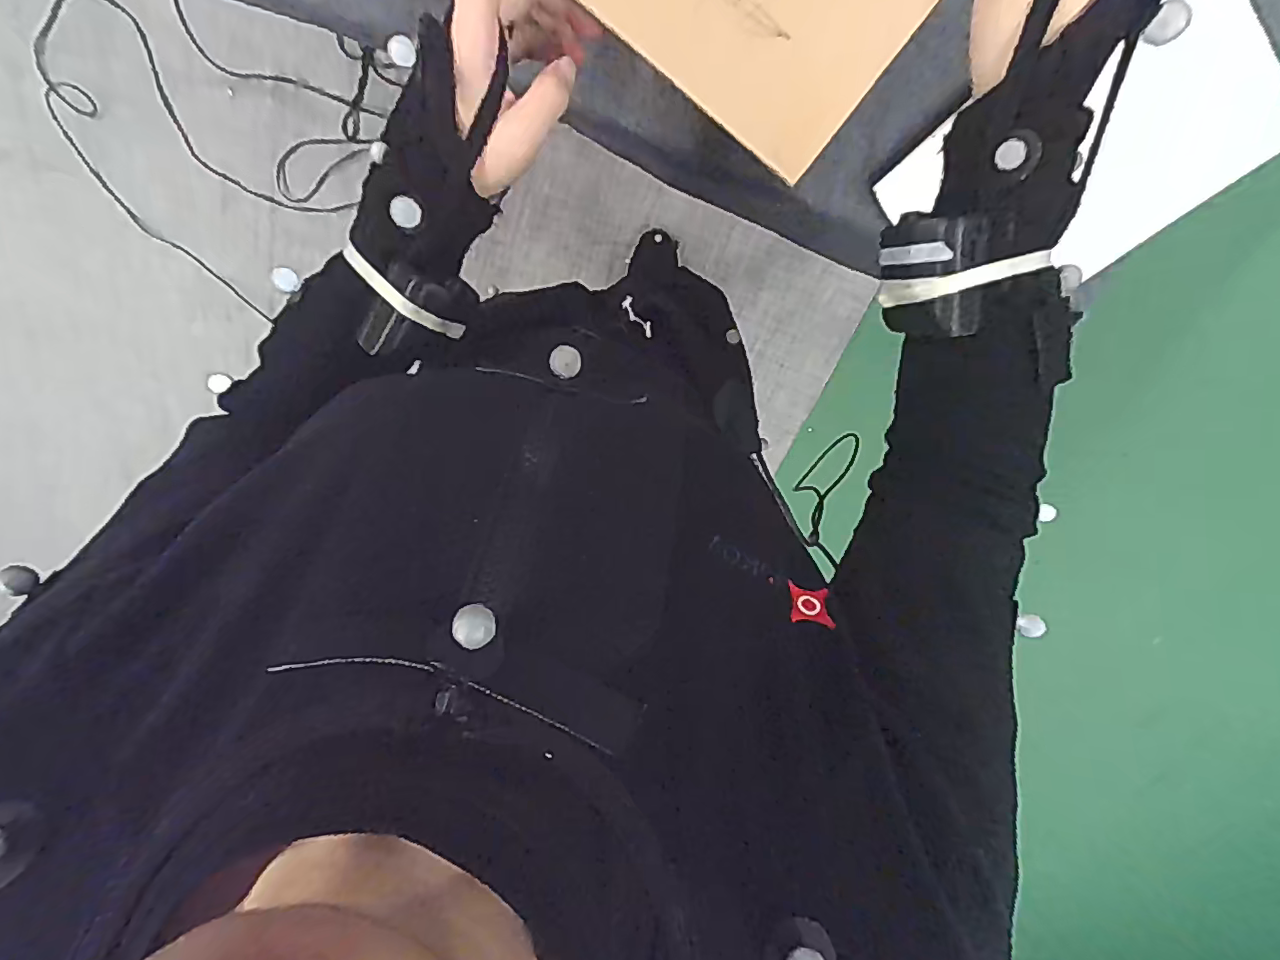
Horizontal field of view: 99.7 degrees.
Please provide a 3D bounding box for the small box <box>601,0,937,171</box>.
[{"bbox_3d":[0.079,-0.311,0.290,0.168,0.176,0.179,31,127,-15],"label":"small box"}]
